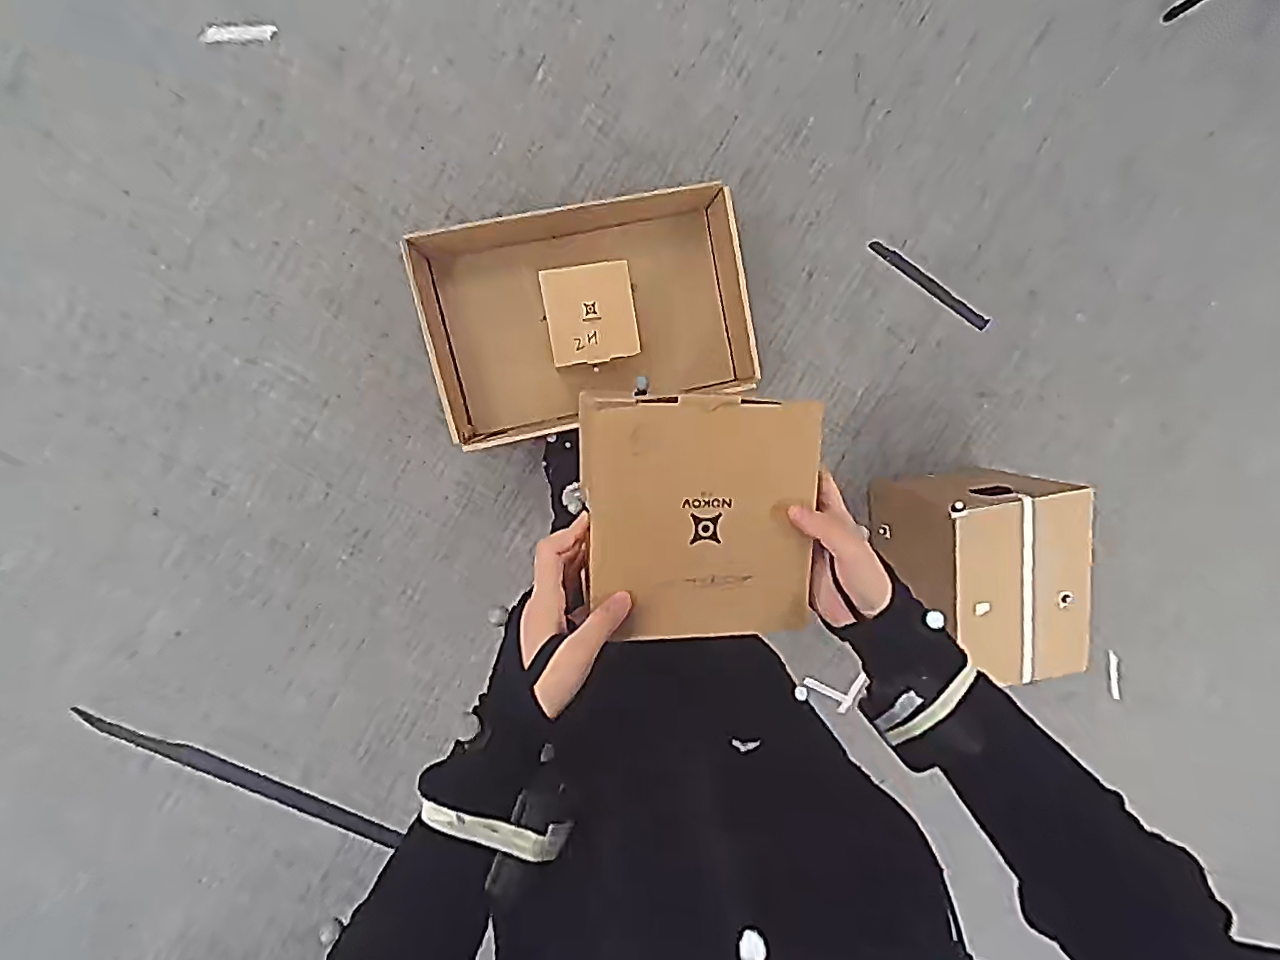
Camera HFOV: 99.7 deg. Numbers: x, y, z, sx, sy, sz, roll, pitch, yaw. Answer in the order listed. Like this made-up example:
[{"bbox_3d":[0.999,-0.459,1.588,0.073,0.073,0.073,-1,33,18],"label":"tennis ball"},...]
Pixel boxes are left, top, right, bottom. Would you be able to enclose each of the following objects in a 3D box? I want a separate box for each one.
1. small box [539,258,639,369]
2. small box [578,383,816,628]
[{"bbox_3d":[-0.104,-0.324,1.076,0.168,0.176,0.179,-10,100,-6],"label":"small box"},{"bbox_3d":[0.032,0.007,0.467,0.168,0.176,0.179,-1,102,-8],"label":"small box"}]
